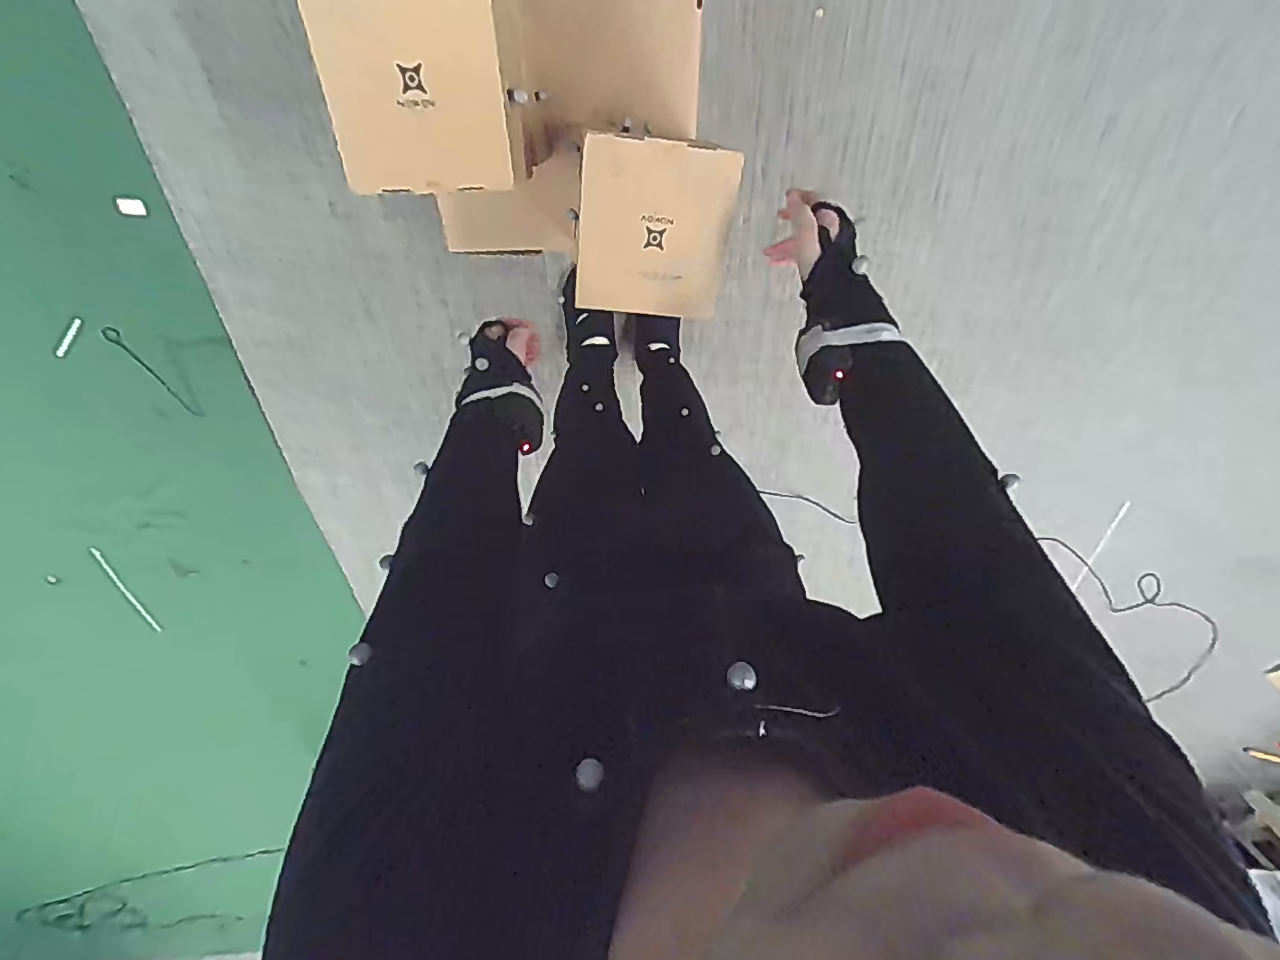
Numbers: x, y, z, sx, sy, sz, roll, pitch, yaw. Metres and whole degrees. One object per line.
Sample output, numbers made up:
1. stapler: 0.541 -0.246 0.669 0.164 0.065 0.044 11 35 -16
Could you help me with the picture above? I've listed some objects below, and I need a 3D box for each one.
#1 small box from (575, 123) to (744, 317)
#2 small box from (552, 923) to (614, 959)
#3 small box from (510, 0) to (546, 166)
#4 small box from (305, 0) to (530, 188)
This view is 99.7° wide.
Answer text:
1. small box: 0.009 -0.315 0.648 0.168 0.176 0.179 4 125 -7
2. small box: -0.165 1.427 1.580 0.179 0.176 0.168 -4 126 -1
3. small box: -0.219 -0.505 0.699 0.179 0.176 0.168 -4 124 -1
4. small box: -0.213 -0.412 0.565 0.168 0.176 0.179 -2 125 -3
